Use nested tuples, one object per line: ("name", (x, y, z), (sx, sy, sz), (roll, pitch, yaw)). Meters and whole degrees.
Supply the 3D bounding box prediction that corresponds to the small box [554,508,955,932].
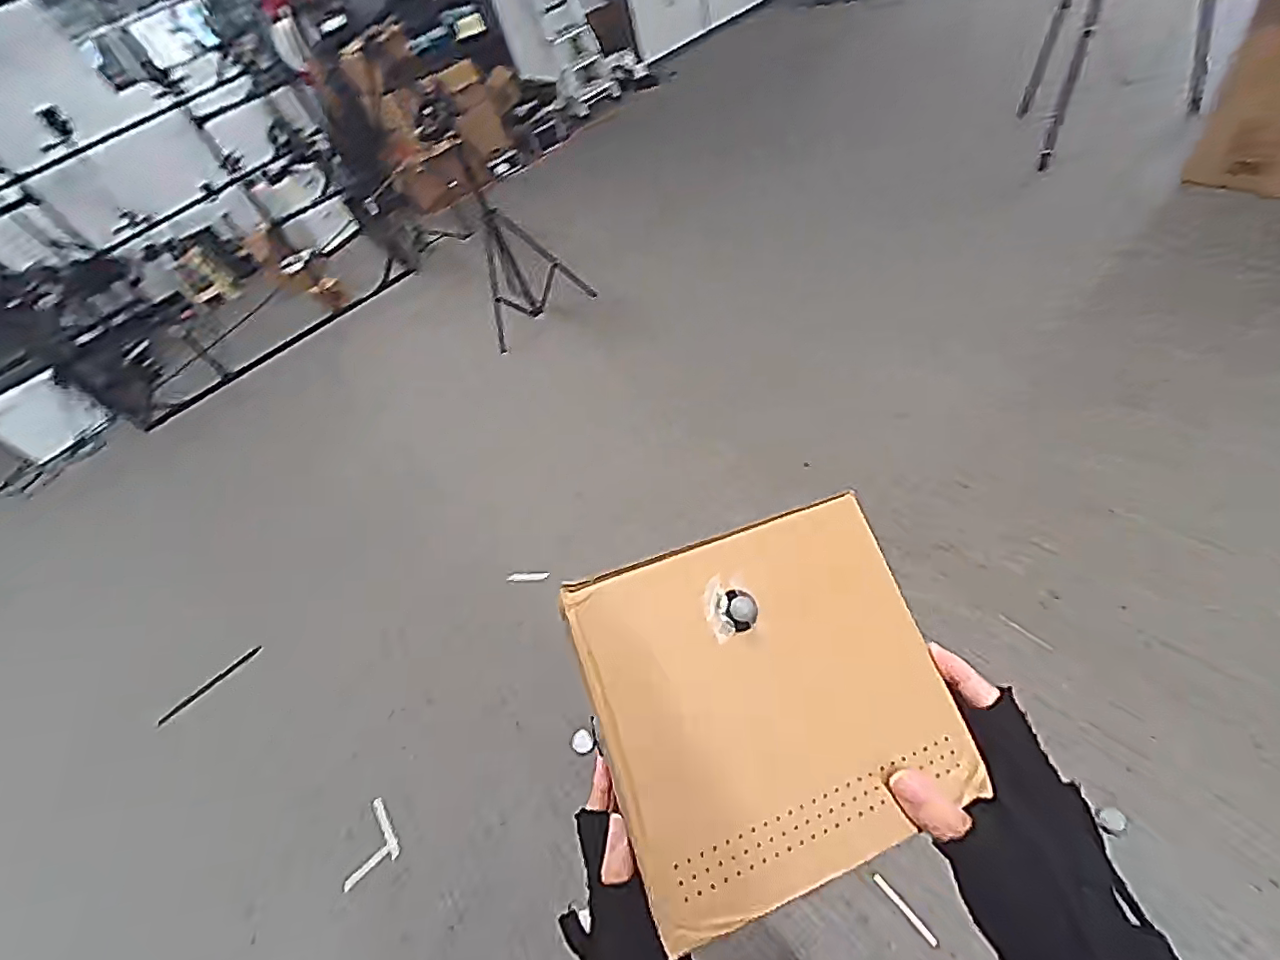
("small box", (0.055, 0.142, 0.357), (0.179, 0.168, 0.176), (-18, 74, -12))
